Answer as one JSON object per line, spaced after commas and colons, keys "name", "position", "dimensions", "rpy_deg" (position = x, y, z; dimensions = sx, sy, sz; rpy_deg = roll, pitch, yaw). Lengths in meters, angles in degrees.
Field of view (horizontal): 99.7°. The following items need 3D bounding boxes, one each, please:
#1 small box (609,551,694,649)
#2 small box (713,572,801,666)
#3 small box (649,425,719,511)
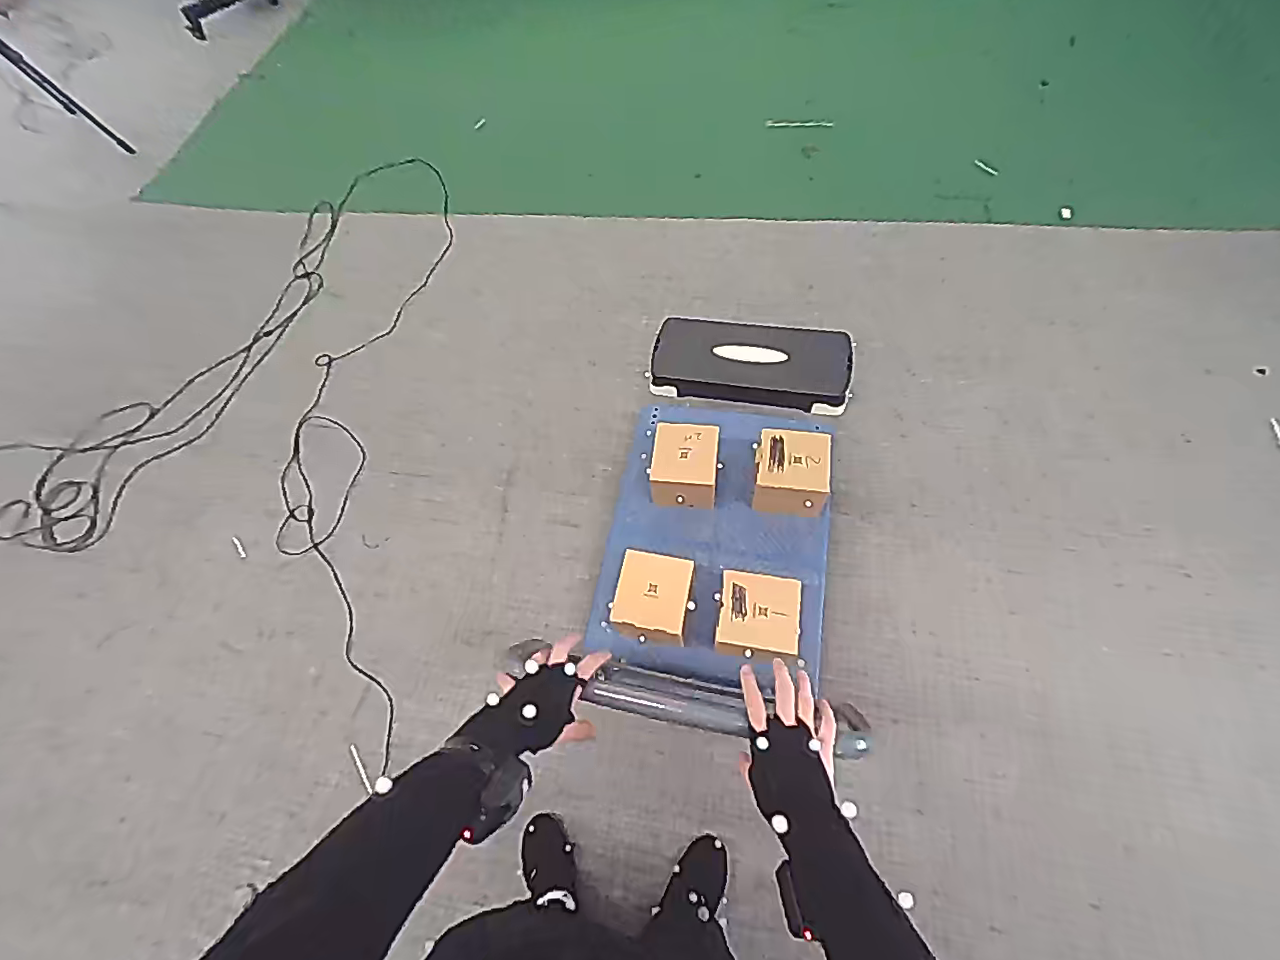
{"name": "small box", "position": [0.033, 0.294, 1.308], "dimensions": [0.168, 0.176, 0.179], "rpy_deg": [10, 65, 10]}
{"name": "small box", "position": [0.268, 0.329, 1.261], "dimensions": [0.179, 0.176, 0.168], "rpy_deg": [8, 65, 9]}
{"name": "small box", "position": [0.122, -0.027, 1.459], "dimensions": [0.168, 0.176, 0.179], "rpy_deg": [5, 65, 9]}
